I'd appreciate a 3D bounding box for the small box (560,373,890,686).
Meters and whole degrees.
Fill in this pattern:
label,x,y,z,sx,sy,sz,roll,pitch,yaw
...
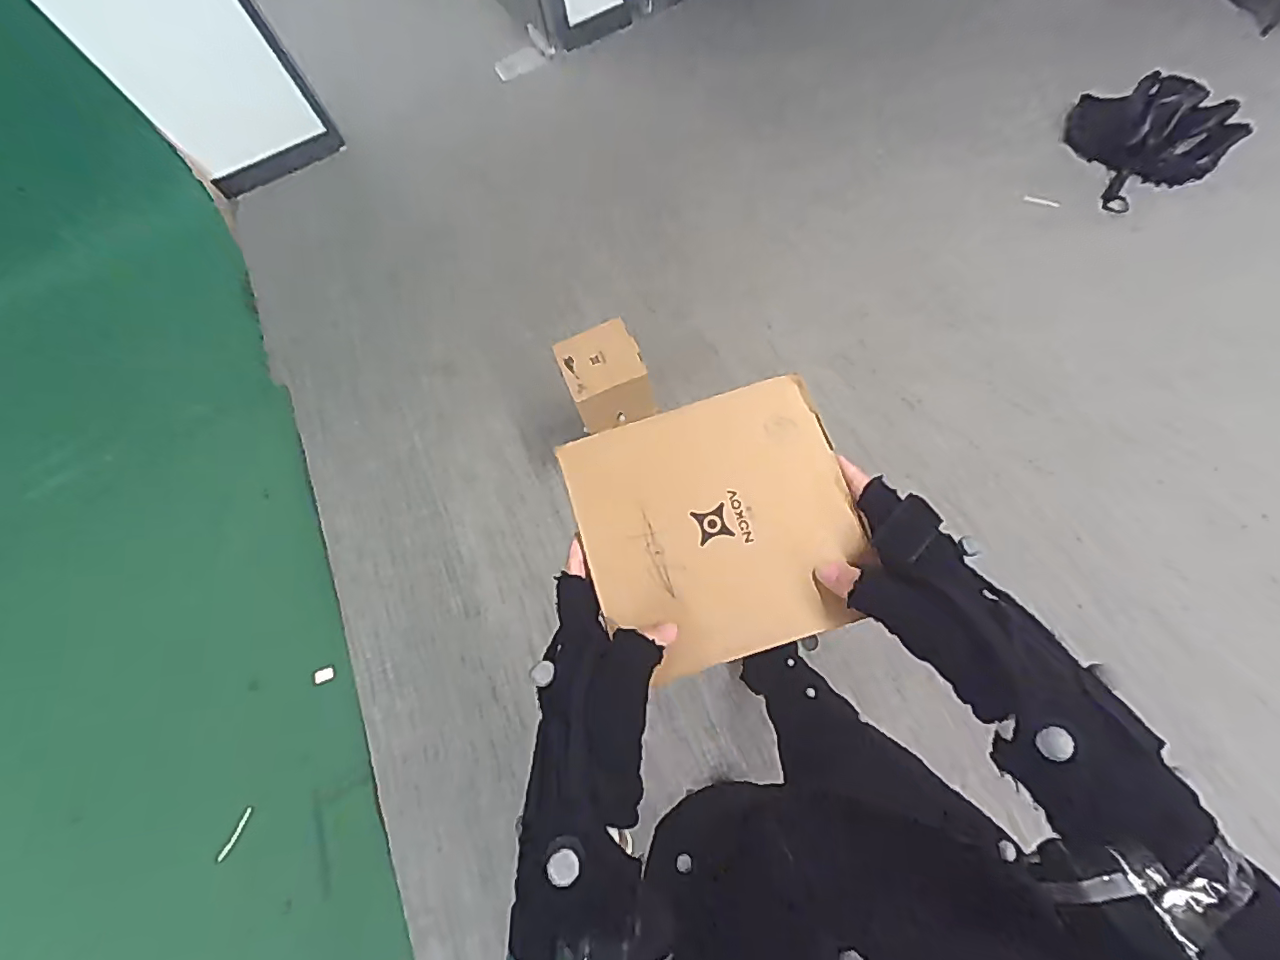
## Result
label,x,y,z,sx,sy,sz,roll,pitch,yaw
small box,0.056,0.045,0.429,0.179,0.176,0.168,-19,74,1

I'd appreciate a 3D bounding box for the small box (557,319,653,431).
label,x,y,z,sx,sy,sz,roll,pitch,yaw
small box,-0.074,-0.243,1.282,0.179,0.176,0.168,-22,69,-1

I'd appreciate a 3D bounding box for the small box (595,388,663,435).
label,x,y,z,sx,sy,sz,roll,pitch,yaw
small box,-0.046,-0.184,1.433,0.179,0.176,0.168,-25,69,-3
